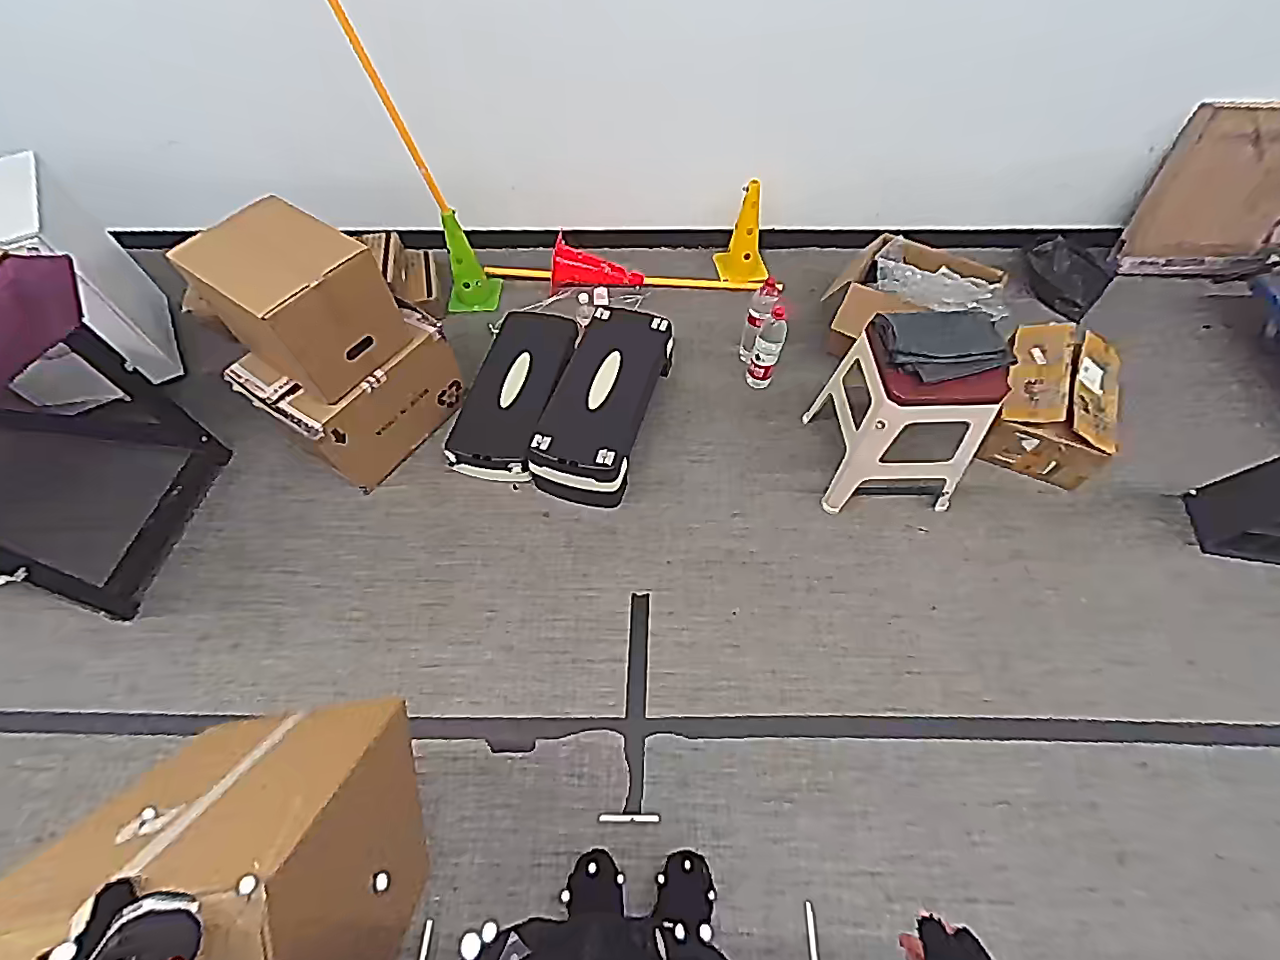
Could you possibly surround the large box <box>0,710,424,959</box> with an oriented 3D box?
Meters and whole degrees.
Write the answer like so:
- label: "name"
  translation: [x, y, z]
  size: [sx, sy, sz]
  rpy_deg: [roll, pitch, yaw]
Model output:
- label: "large box"
  translation: [-0.514, 0.563, 0.717]
  size: [0.320, 0.408, 0.320]
  rpy_deg: [-8, 93, -4]
